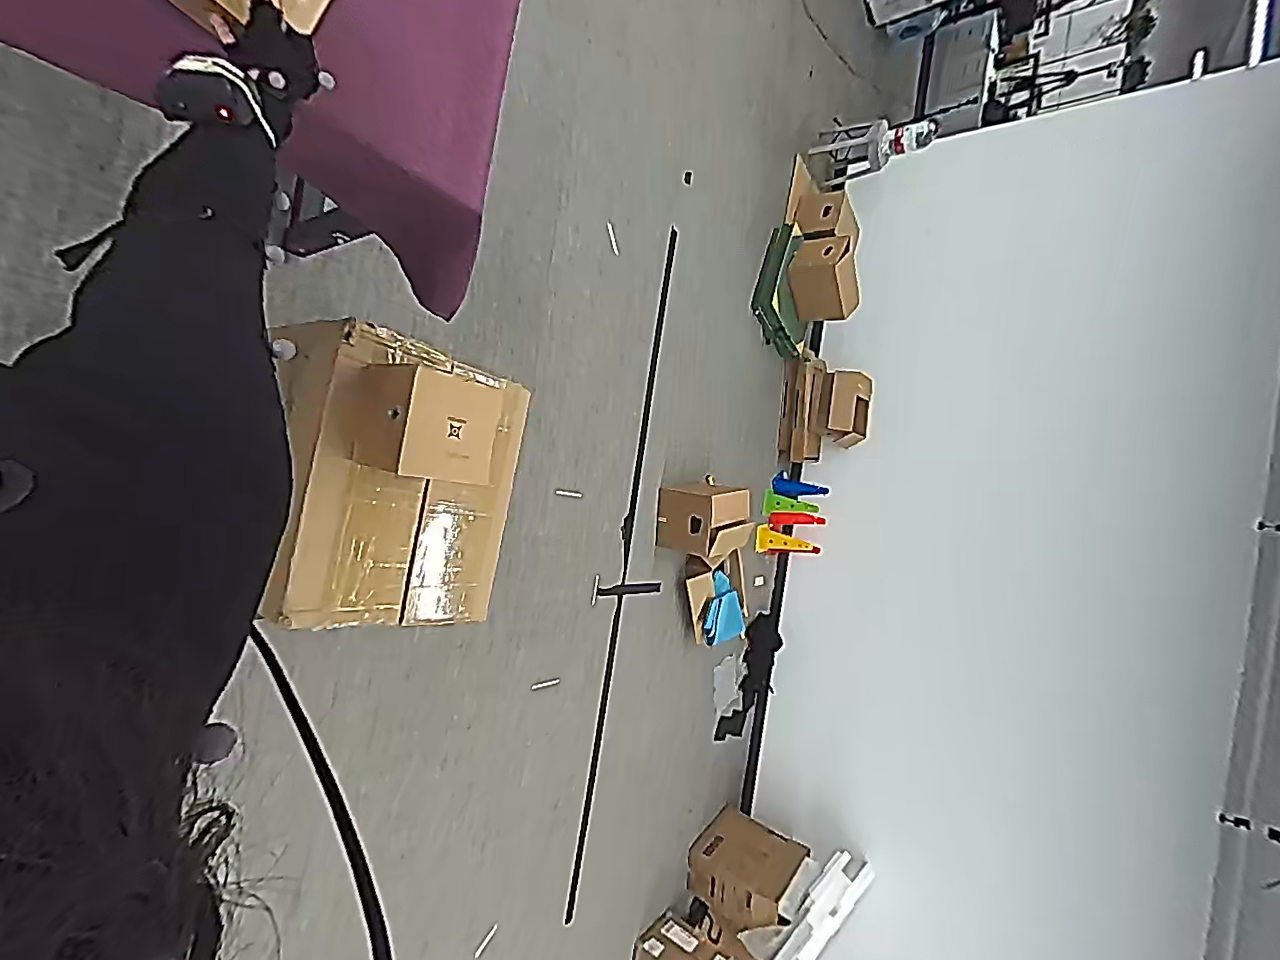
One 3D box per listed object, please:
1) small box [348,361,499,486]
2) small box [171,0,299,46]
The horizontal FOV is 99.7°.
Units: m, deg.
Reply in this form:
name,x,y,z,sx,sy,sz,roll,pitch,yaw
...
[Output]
name,x,y,z,sx,sy,sz,roll,pitch,yaw
small box,-0.371,-0.095,0.922,0.168,0.176,0.179,11,89,-51
small box,-0.435,-0.573,0.530,0.179,0.176,0.168,28,93,-52
